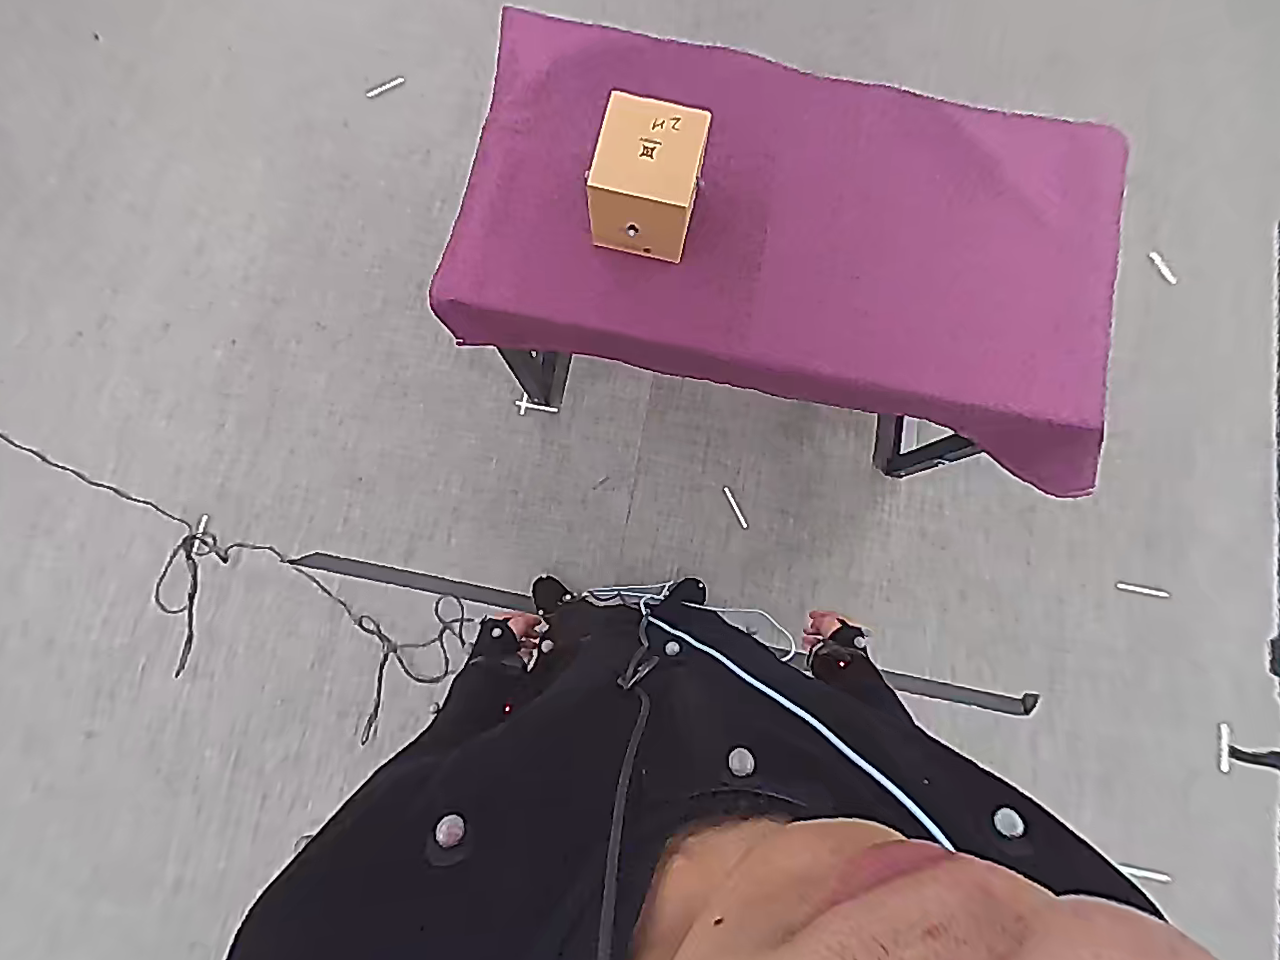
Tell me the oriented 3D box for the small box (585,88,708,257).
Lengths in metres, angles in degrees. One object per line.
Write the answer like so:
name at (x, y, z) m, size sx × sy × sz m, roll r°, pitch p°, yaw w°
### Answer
small box at (0.010, -0.517, 0.935) m, size 0.168 × 0.176 × 0.179 m, roll 14°, pitch 82°, yaw 0°
